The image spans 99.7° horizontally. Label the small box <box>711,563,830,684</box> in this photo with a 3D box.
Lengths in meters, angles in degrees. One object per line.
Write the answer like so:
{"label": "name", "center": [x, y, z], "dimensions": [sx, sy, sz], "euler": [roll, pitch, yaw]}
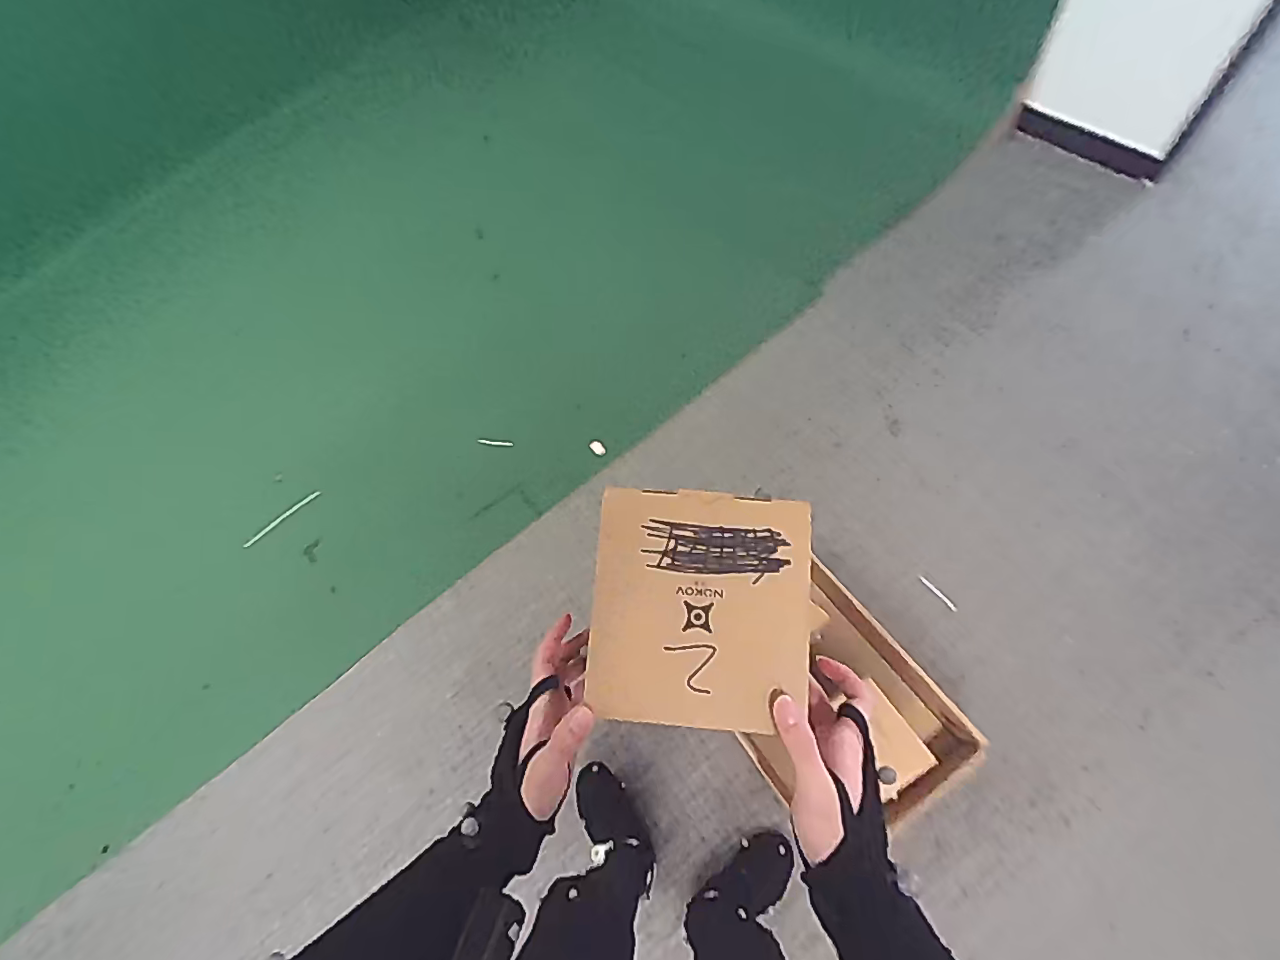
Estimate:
{"label": "small box", "center": [0.275, 0.309, 1.139], "dimensions": [0.179, 0.176, 0.168], "euler": [-40, 64, -6]}

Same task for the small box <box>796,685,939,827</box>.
{"label": "small box", "center": [0.414, 0.509, 1.012], "dimensions": [0.179, 0.176, 0.168], "euler": [-34, 63, -2]}
